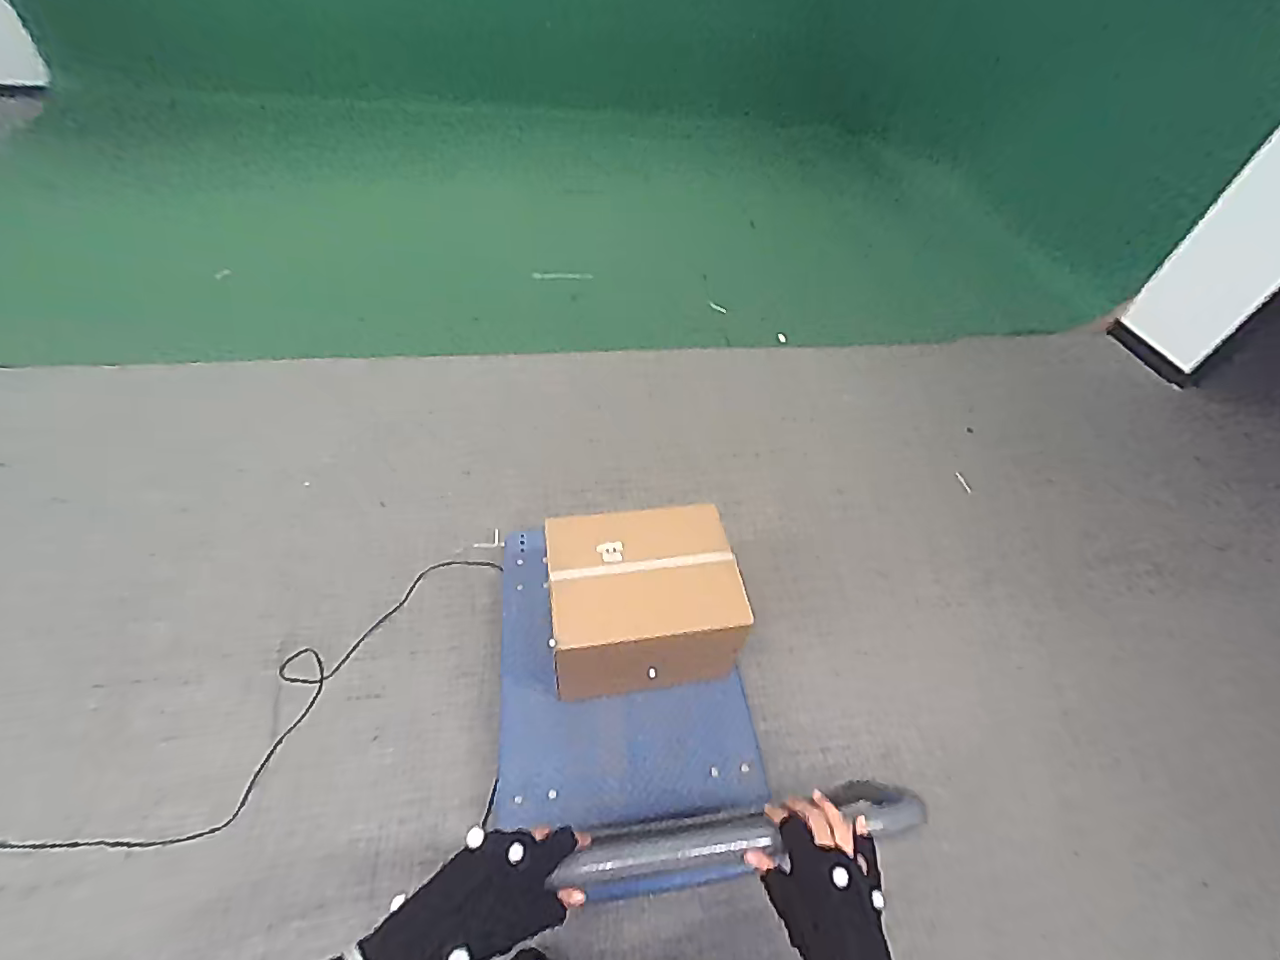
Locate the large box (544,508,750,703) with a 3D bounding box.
[{"bbox_3d":[-0.003,0.296,1.270,0.408,0.320,0.320,-5,49,-9],"label":"large box"}]
